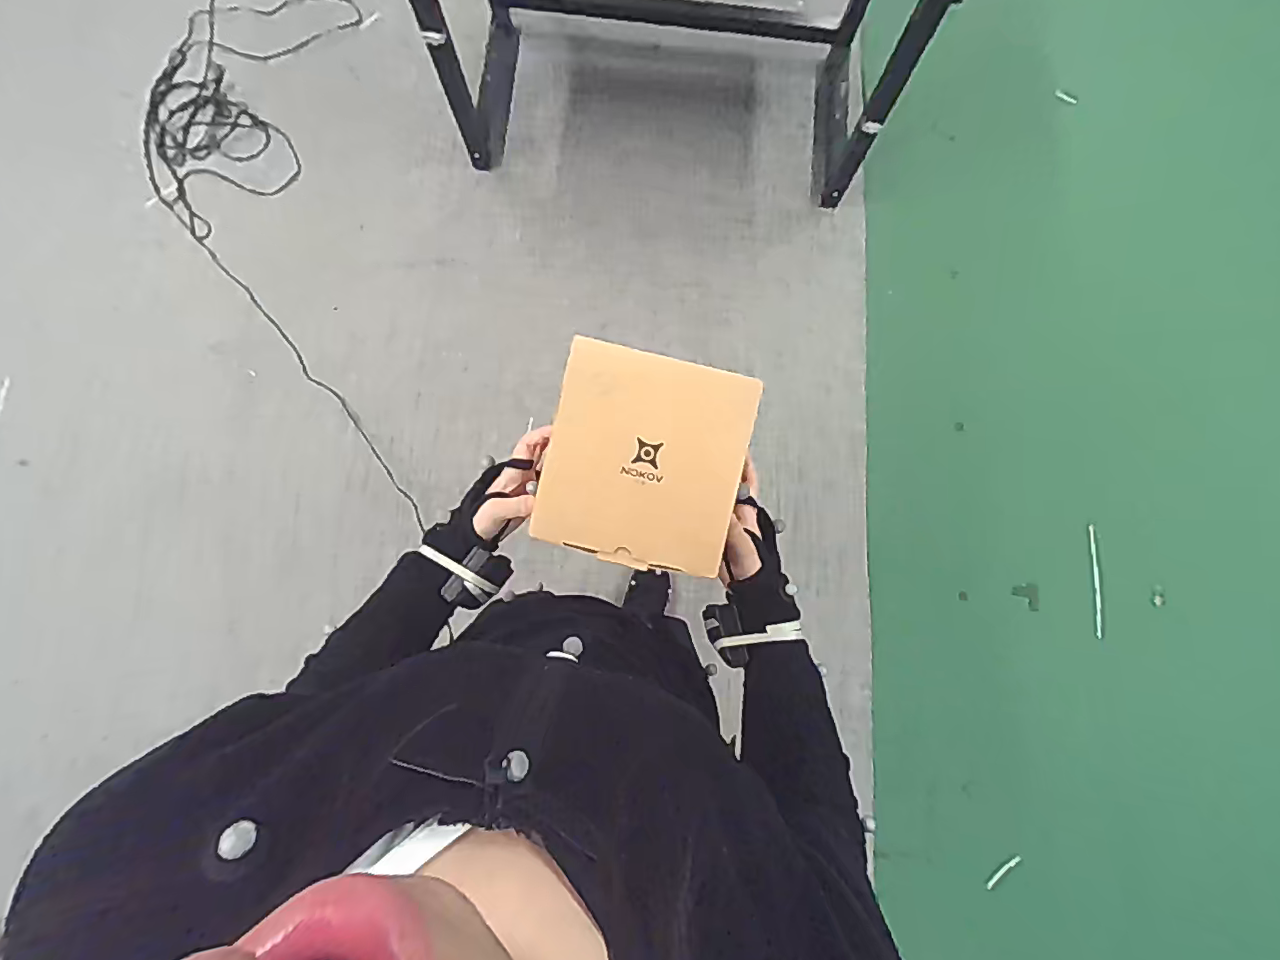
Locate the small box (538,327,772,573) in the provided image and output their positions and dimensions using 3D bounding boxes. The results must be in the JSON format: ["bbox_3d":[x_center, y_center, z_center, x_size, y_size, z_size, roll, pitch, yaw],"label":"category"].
[{"bbox_3d":[0.009,-0.027,0.526,0.168,0.176,0.179,13,92,-2],"label":"small box"}]
